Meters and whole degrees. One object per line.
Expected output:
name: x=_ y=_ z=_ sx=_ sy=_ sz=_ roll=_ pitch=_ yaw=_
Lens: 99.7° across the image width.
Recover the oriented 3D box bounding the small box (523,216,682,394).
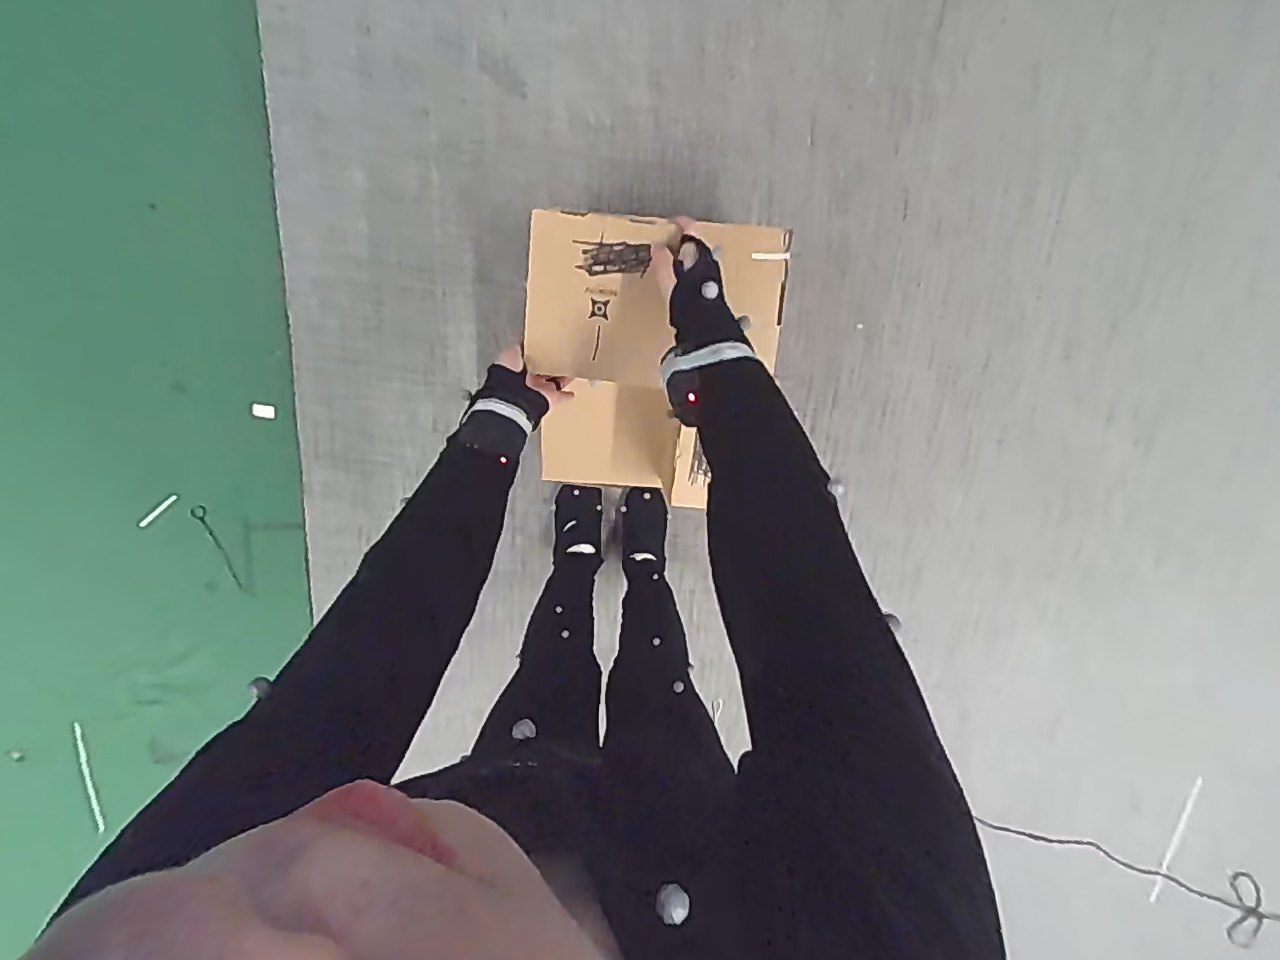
small box: x=-0.046 y=-0.211 z=0.680 sx=0.168 sy=0.176 sz=0.179 roll=6 pitch=104 yaw=-2
